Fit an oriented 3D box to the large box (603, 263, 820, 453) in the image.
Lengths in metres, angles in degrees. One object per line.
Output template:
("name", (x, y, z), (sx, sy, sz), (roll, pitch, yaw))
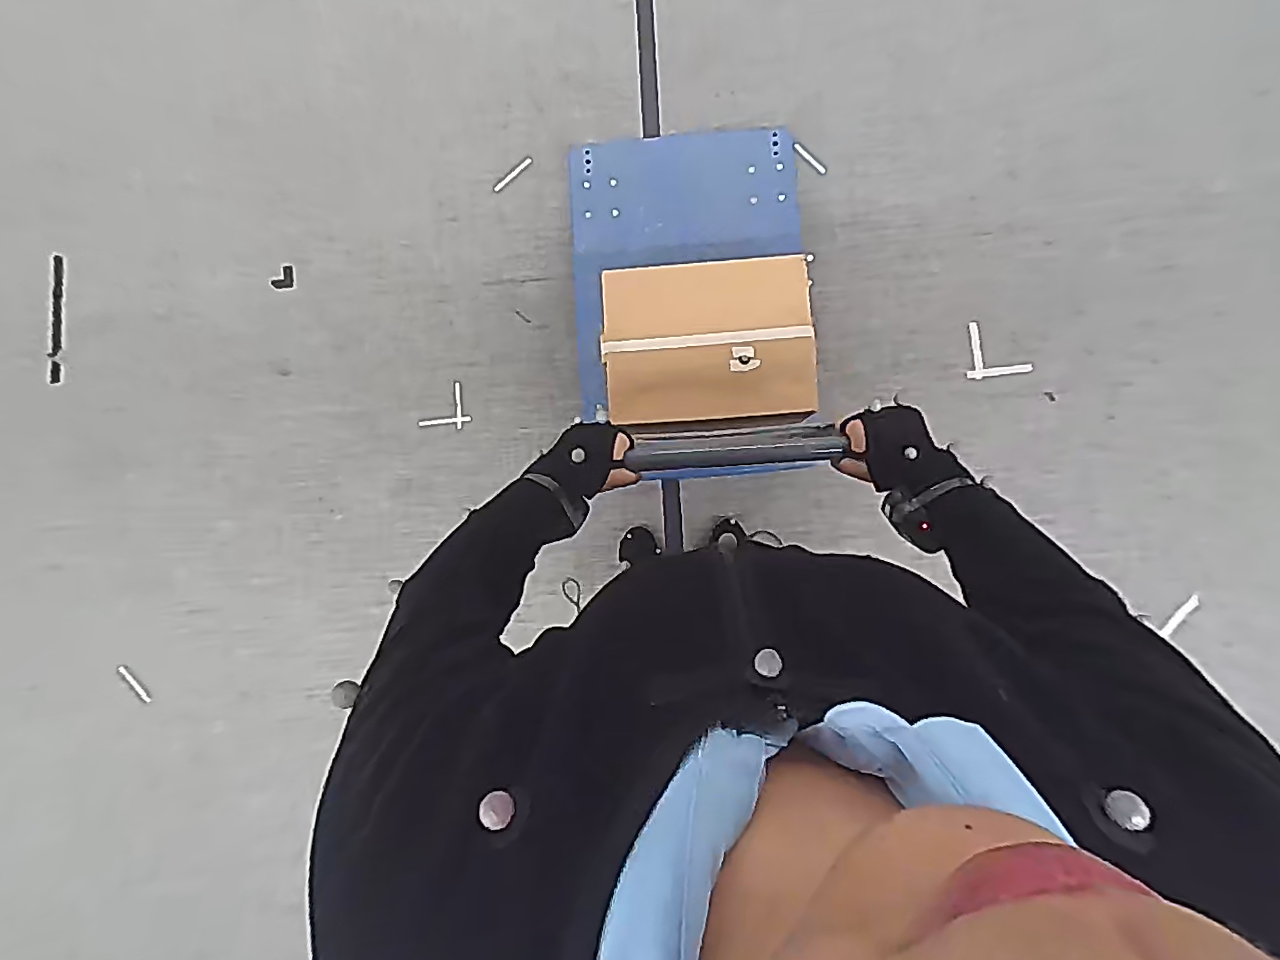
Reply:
("large box", (0.141, -0.243, 1.192), (0.408, 0.320, 0.320), (-4, 87, 2))
